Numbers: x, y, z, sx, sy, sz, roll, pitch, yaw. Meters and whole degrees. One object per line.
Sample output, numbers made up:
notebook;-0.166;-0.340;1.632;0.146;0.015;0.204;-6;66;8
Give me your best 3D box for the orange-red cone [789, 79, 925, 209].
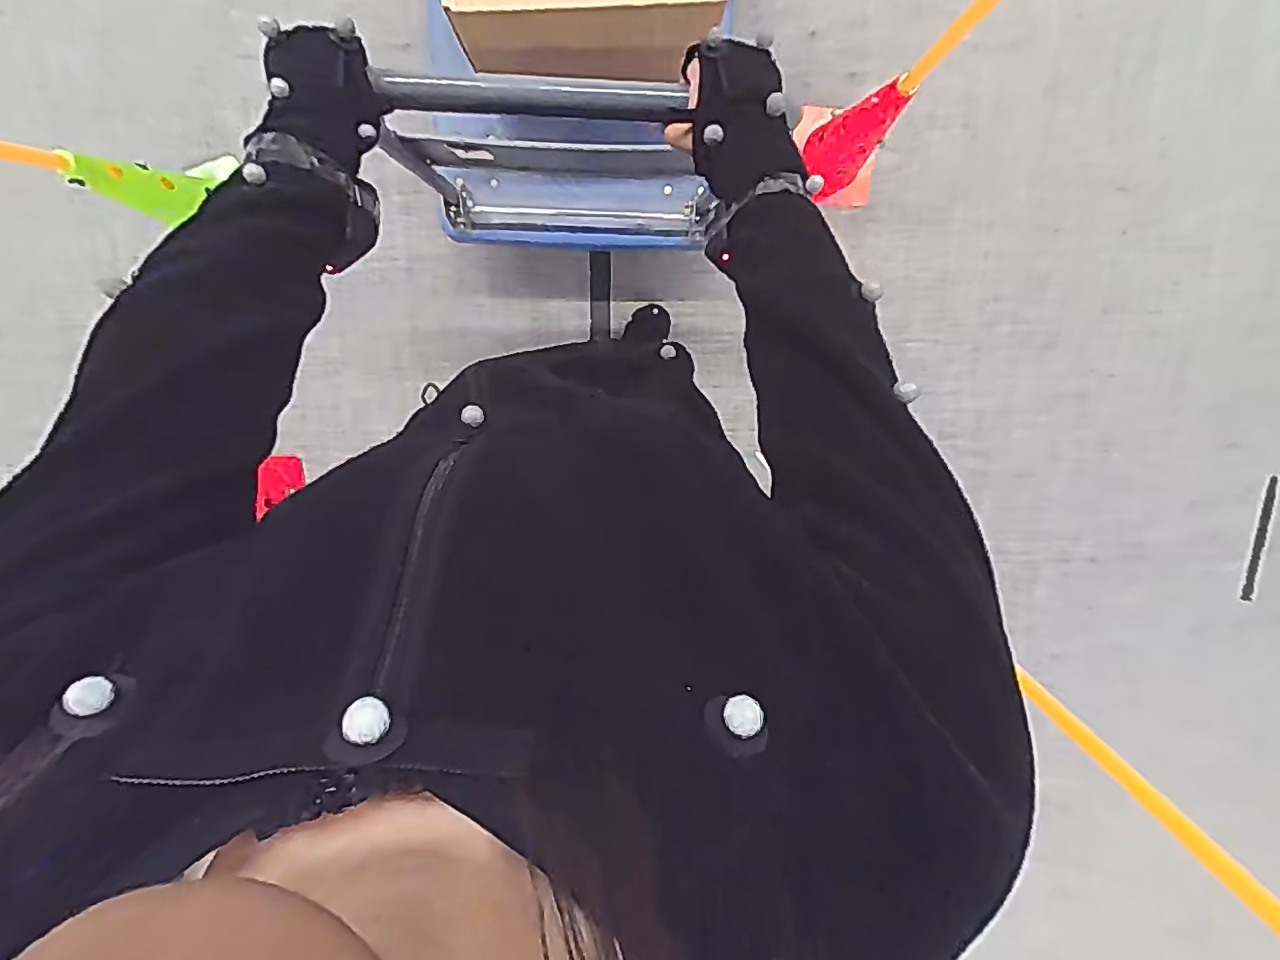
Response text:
orange-red cone;0.463;-0.706;1.089;0.199;0.360;0.198;6;103;-4
